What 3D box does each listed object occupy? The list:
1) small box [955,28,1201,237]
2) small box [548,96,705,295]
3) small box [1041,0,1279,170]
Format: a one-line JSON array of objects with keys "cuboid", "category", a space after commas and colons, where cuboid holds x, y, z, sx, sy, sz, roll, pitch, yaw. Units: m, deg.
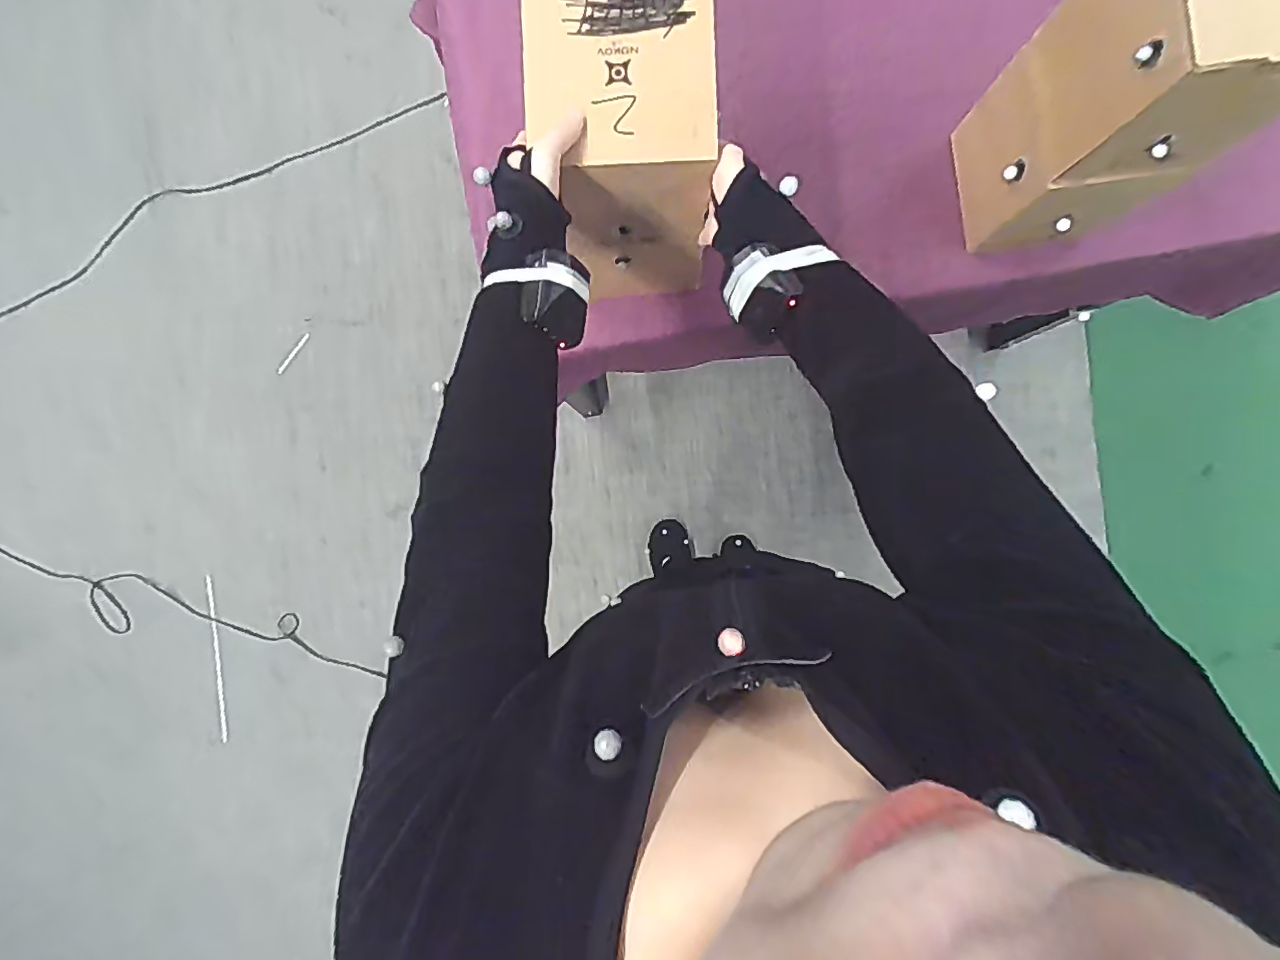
[{"cuboid": [0.530, -0.427, 0.680, 0.168, 0.176, 0.179, -8, 89, 3], "category": "small box"}, {"cuboid": [-0.012, -0.355, 0.708, 0.179, 0.176, 0.168, -5, 89, 2], "category": "small box"}, {"cuboid": [0.525, -0.437, 0.516, 0.168, 0.176, 0.179, -8, 90, 3], "category": "small box"}]
